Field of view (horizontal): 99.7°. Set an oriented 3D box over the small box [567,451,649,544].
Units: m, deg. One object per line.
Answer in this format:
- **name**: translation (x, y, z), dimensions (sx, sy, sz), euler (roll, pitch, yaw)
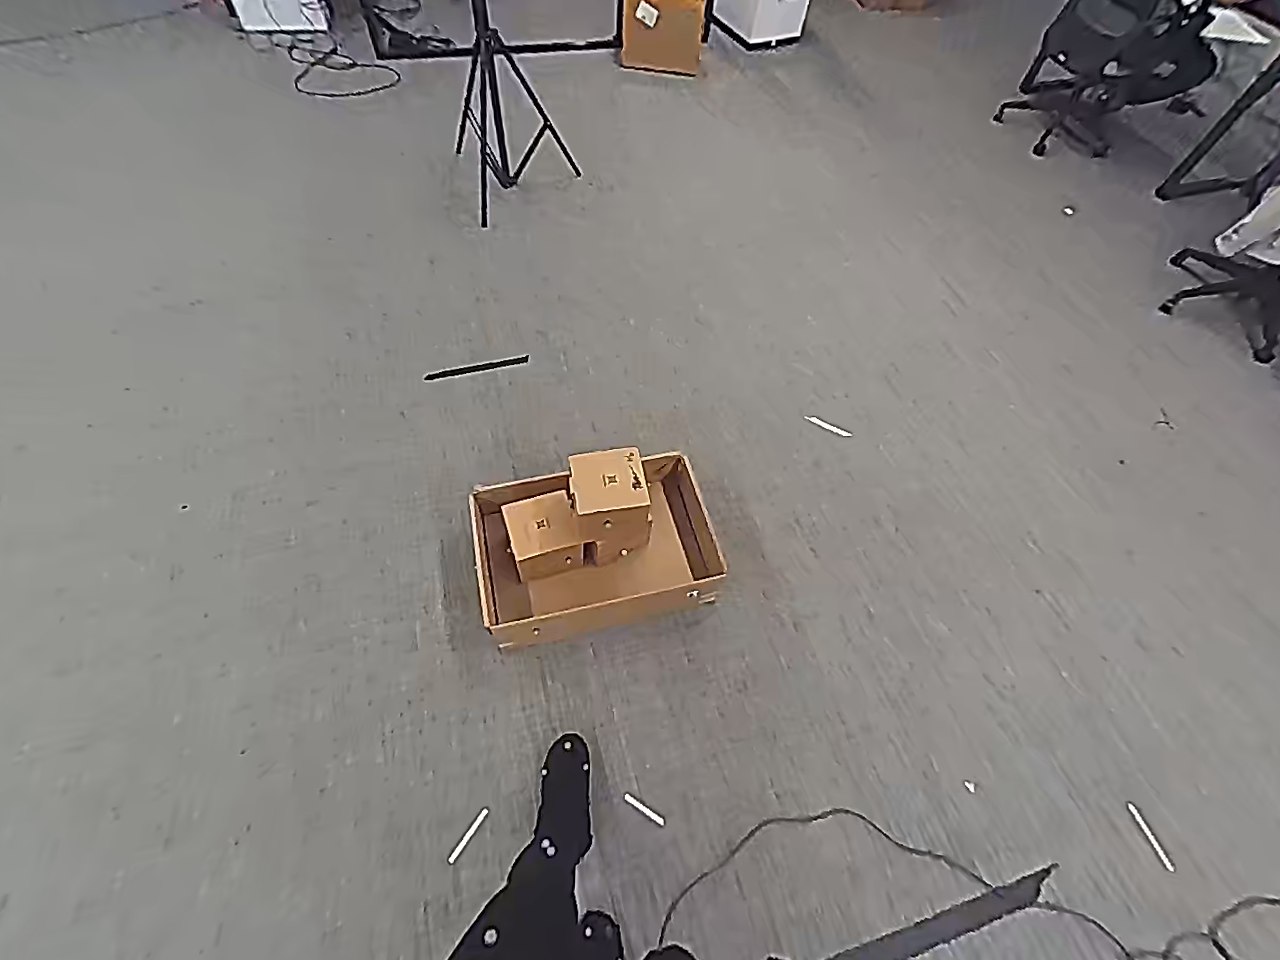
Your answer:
- **small box**: translation (-0.081, 0.049, 1.357), dimensions (0.179, 0.176, 0.168), euler (-9, 61, -8)
